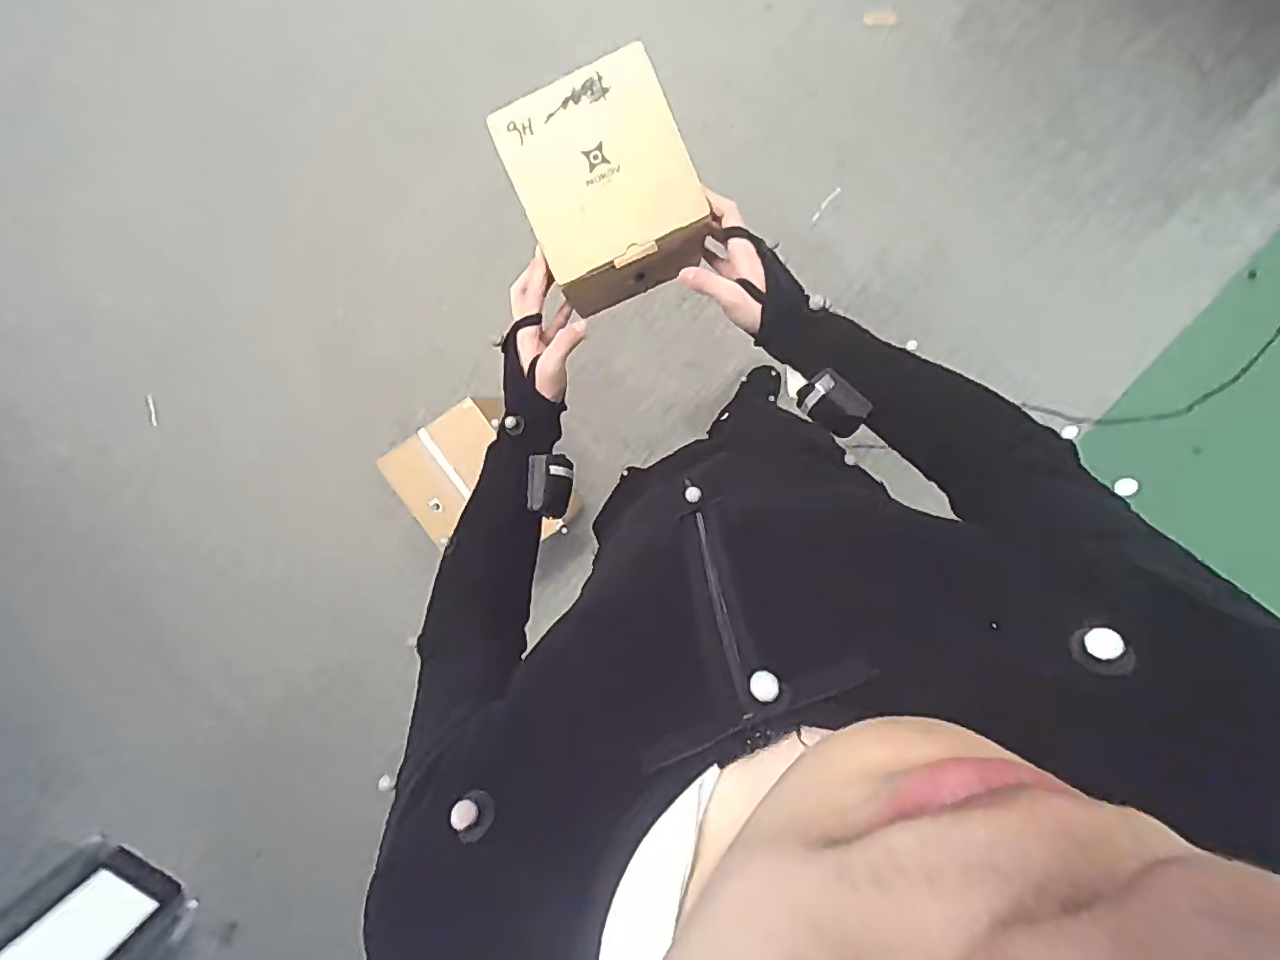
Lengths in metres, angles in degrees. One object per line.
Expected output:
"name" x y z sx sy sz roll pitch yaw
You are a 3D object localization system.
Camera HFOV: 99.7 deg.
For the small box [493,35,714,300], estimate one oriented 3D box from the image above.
"small box" -0.030 -0.313 0.592 0.168 0.176 0.179 -23 96 4
